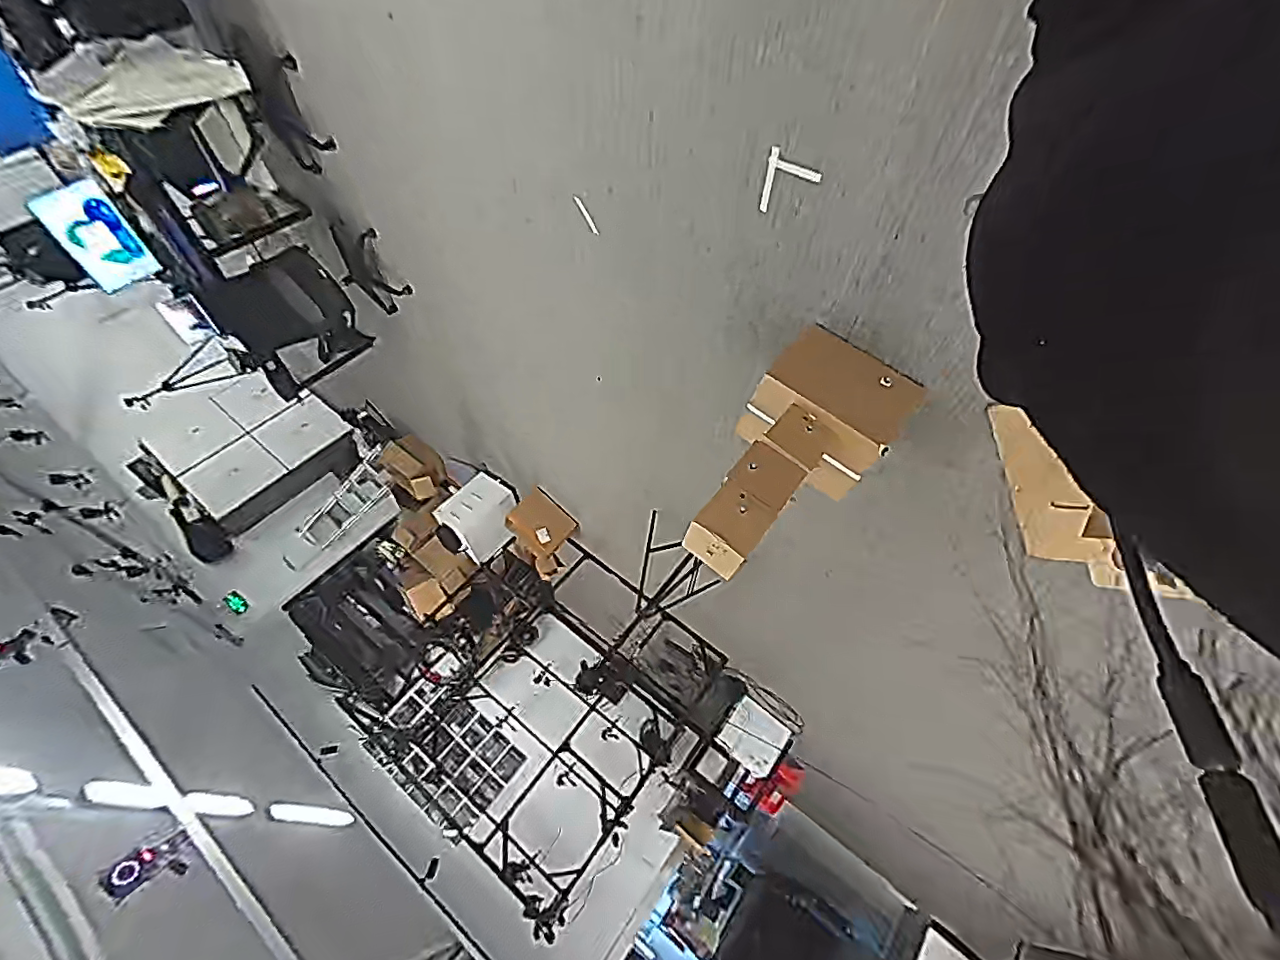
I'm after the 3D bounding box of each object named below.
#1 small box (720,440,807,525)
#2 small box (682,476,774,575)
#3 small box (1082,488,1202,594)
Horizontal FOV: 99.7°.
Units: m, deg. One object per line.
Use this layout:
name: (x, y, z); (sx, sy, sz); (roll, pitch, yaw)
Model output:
small box: (0.341, 0.010, 1.545); (0.179, 0.176, 0.168); (35, 153, 14)
small box: (0.240, 0.124, 1.481); (0.168, 0.176, 0.179); (37, 153, 12)
small box: (1.165, 0.134, 1.252); (0.179, 0.176, 0.168); (4, 132, 54)
